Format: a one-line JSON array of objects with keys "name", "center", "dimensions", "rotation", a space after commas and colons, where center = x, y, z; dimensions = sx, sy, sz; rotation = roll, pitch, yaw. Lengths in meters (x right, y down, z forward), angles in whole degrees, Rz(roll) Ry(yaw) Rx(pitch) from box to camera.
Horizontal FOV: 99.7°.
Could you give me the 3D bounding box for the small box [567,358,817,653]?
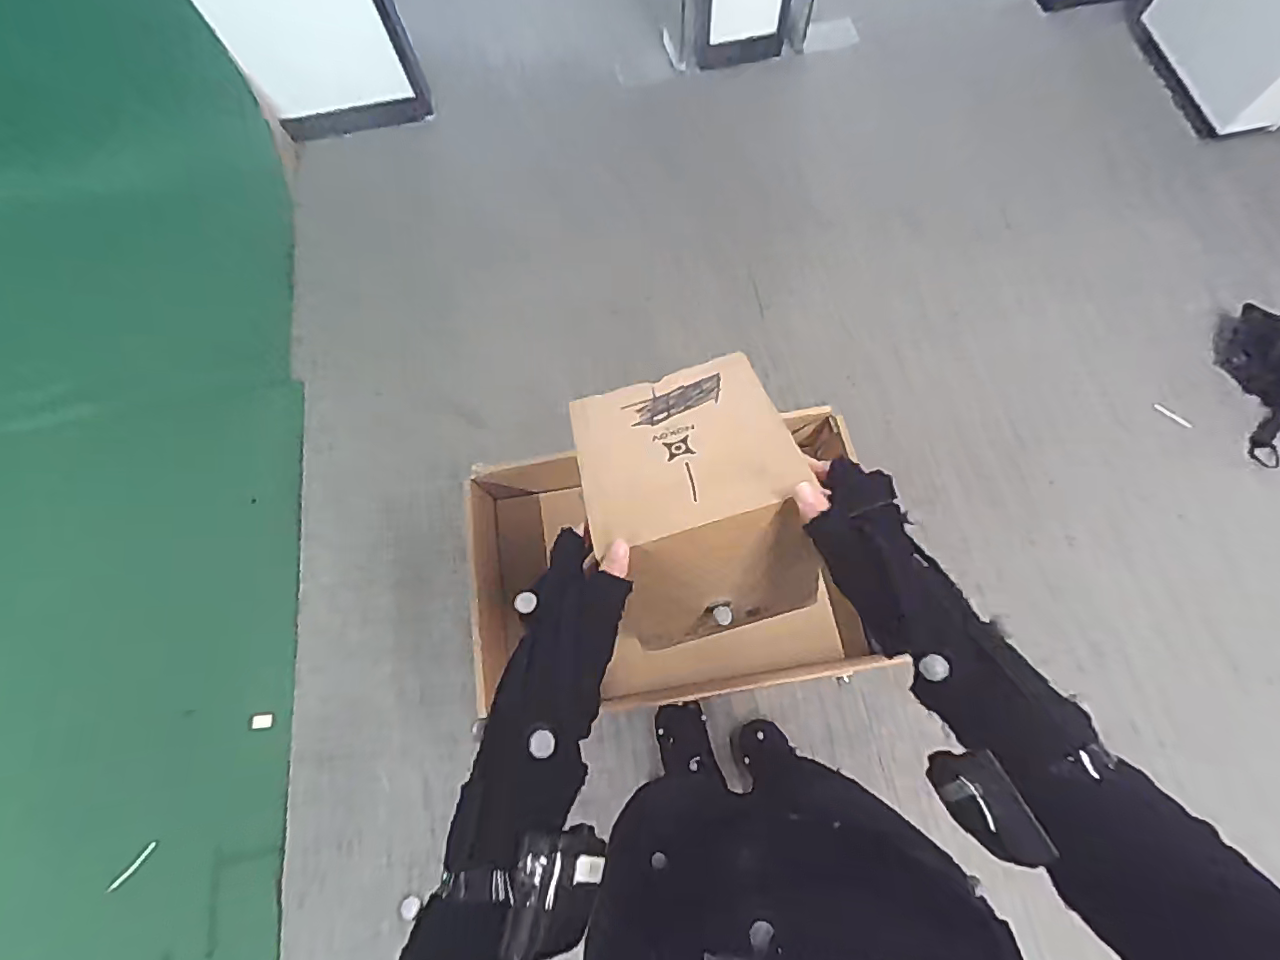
[{"name": "small box", "center": [0.044, 0.026, 0.485], "dimensions": [0.168, 0.176, 0.179], "rotation": [-17, 48, 2]}]
